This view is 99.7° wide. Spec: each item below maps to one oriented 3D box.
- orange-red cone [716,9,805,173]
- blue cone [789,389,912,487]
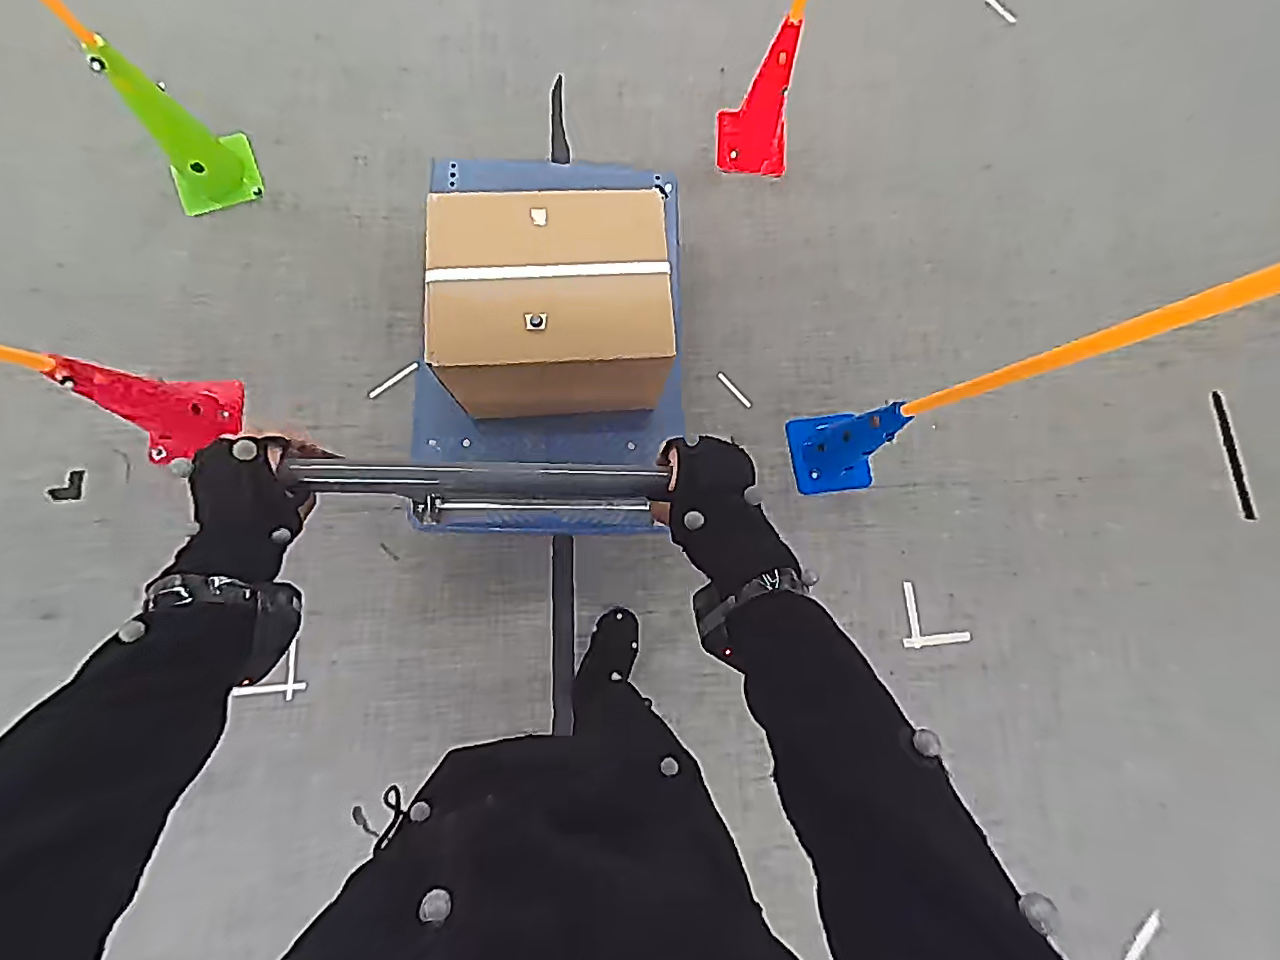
[{"bbox_3d":[0.335,-0.999,1.369,0.199,0.360,0.198,5,80,-5],"label":"orange-red cone"},{"bbox_3d":[0.502,-0.114,1.232,0.193,0.380,0.192,-6,79,-6],"label":"blue cone"}]
